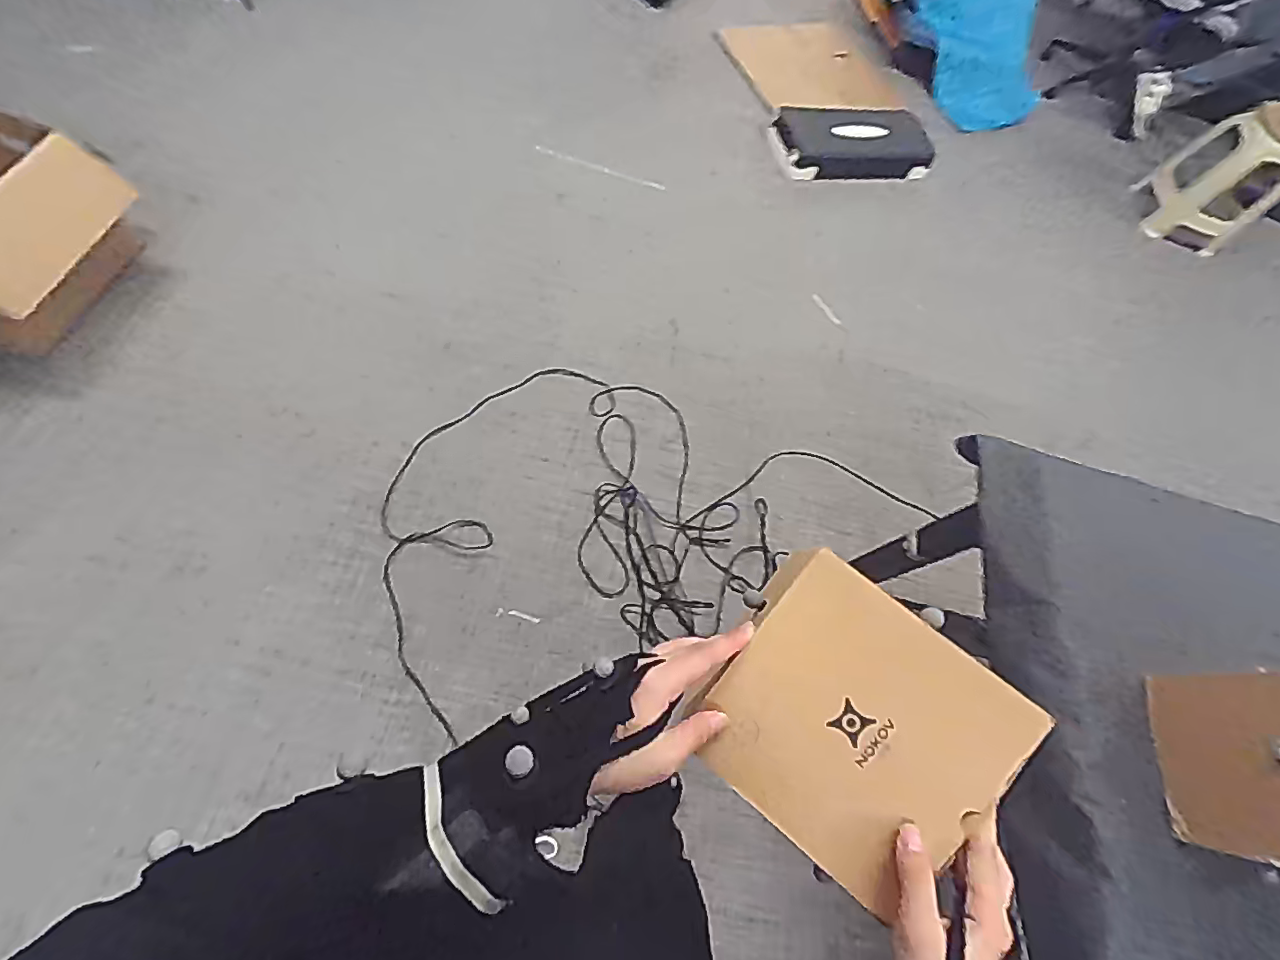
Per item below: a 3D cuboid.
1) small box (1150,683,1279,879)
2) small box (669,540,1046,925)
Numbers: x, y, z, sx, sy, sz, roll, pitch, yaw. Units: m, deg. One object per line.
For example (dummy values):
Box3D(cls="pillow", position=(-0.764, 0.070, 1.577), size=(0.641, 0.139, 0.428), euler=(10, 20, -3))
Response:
Box3D(cls="small box", position=(0.682, 0.314, 0.555), size=(0.168, 0.176, 0.179), euler=(16, 65, -5))
Box3D(cls="small box", position=(0.143, 0.167, 0.422), size=(0.179, 0.176, 0.168), euler=(38, 88, 11))
